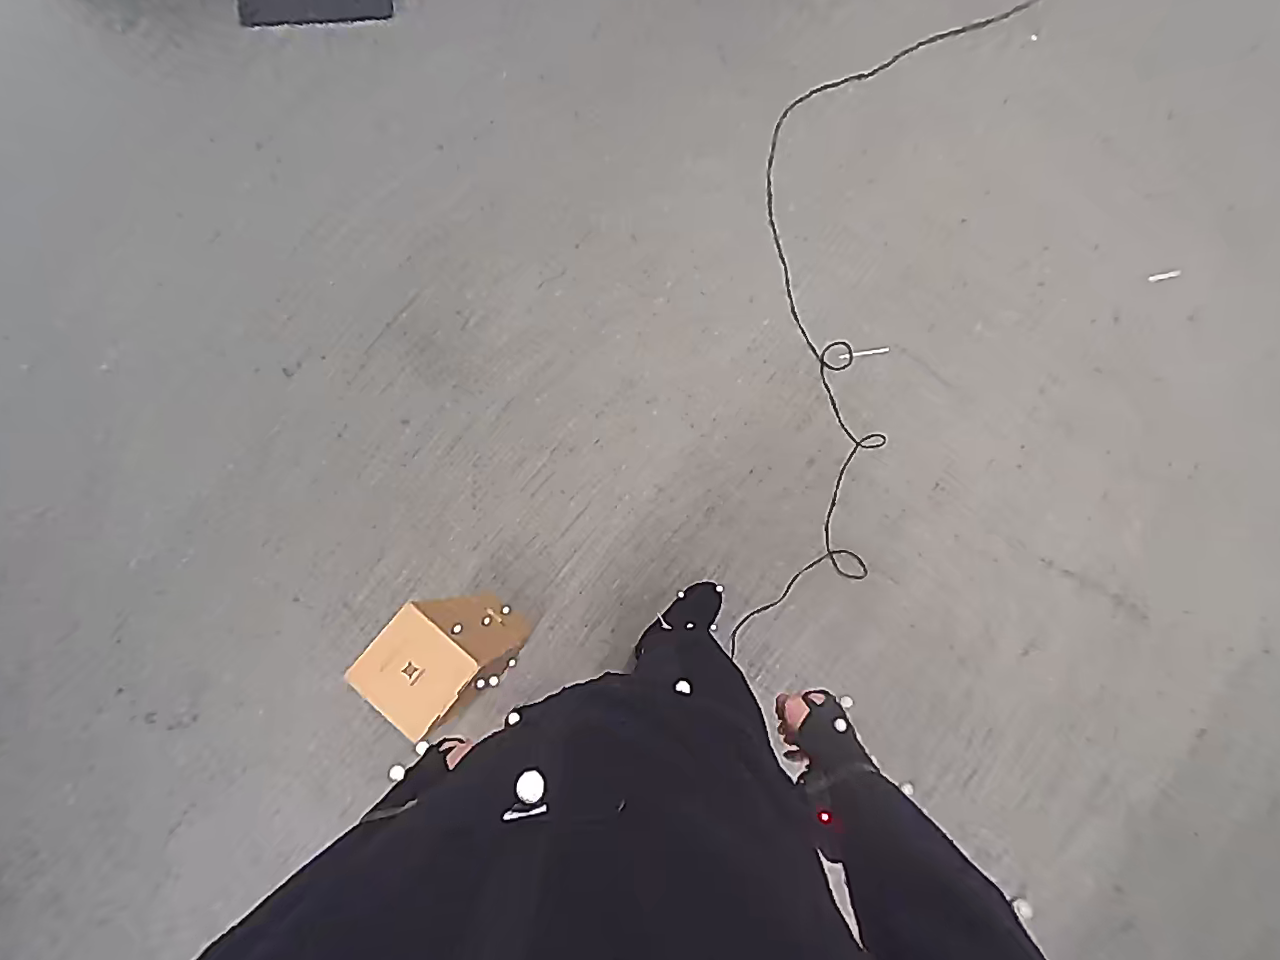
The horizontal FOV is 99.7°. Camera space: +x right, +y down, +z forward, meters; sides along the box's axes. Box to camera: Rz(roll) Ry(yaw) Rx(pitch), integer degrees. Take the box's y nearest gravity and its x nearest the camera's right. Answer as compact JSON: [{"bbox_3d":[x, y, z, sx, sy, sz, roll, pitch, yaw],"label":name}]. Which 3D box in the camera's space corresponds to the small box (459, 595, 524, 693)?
[{"bbox_3d":[-0.406,0.398,1.331,0.168,0.176,0.179,37,83,5],"label":"small box"}]

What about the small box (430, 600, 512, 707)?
[{"bbox_3d":[-0.403,0.371,1.147,0.179,0.176,0.168,41,85,7],"label":"small box"}]

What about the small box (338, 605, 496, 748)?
[{"bbox_3d":[-0.394,0.343,0.990,0.179,0.176,0.168,39,82,7],"label":"small box"}]
